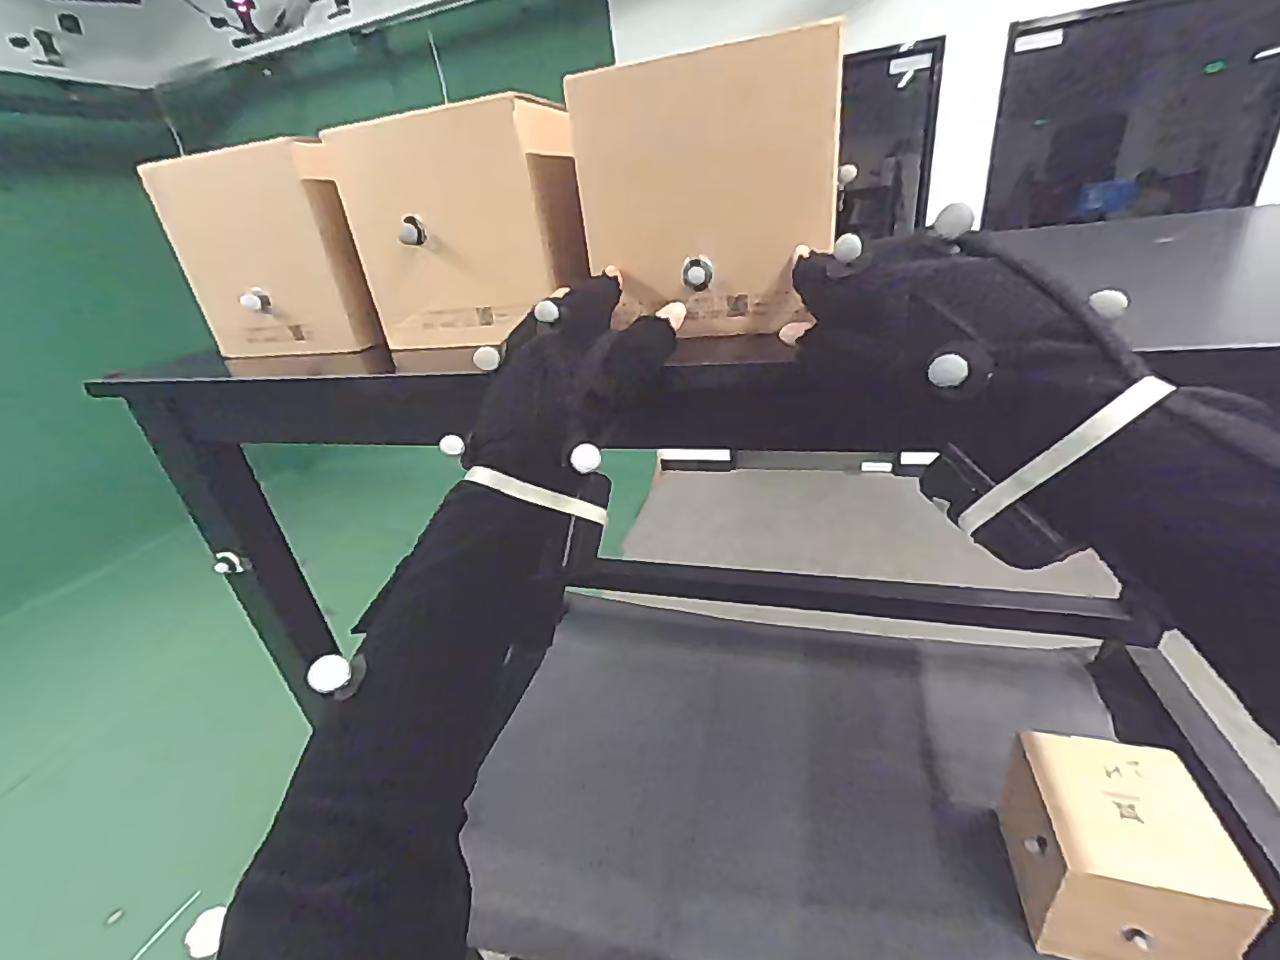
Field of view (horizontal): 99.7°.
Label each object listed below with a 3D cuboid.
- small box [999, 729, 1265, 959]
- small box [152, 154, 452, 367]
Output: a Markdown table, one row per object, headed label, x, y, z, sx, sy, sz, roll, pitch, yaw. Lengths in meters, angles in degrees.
| label | x | y | z | sx | sy | sz | roll | pitch | yaw |
| --- | --- | --- | --- | --- | --- | --- | --- | --- | --- |
| small box | 0.553 | 0.437 | 0.642 | 0.168 | 0.176 | 0.179 | 2 | 27 | 18 |
| small box | -0.314 | -0.220 | 0.550 | 0.168 | 0.176 | 0.179 | 1 | 29 | 17 |
